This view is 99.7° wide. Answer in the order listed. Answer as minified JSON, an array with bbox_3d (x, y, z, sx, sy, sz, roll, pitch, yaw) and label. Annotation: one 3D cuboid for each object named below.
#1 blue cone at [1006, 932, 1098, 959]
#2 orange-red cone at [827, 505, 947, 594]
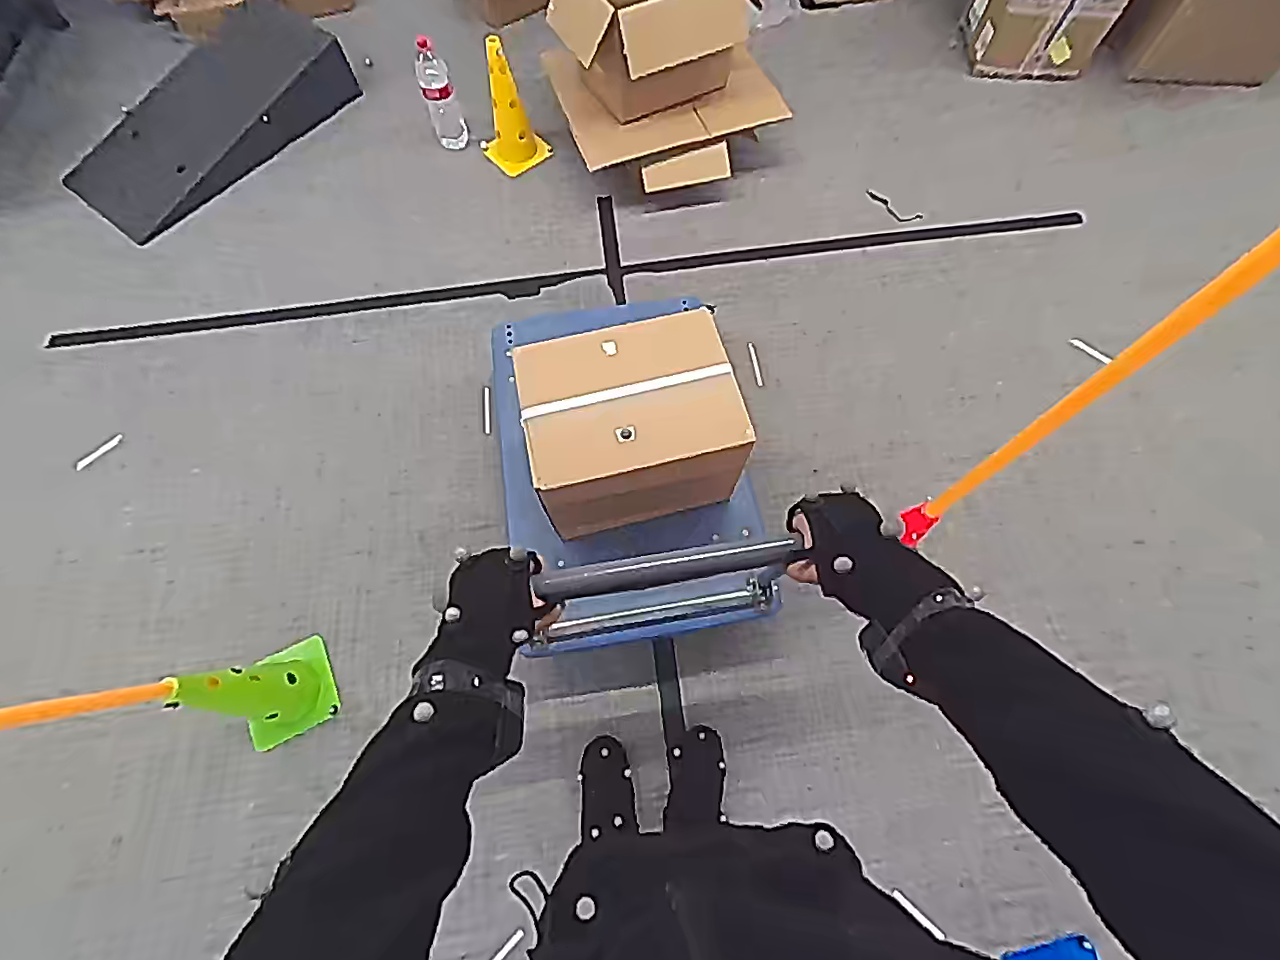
[{"bbox_3d":[0.825,0.947,0.896,0.193,0.380,0.192,-11,67,-4],"label":"blue cone"},{"bbox_3d":[0.582,0.129,1.215,0.199,0.360,0.198,-1,69,-1],"label":"orange-red cone"}]
